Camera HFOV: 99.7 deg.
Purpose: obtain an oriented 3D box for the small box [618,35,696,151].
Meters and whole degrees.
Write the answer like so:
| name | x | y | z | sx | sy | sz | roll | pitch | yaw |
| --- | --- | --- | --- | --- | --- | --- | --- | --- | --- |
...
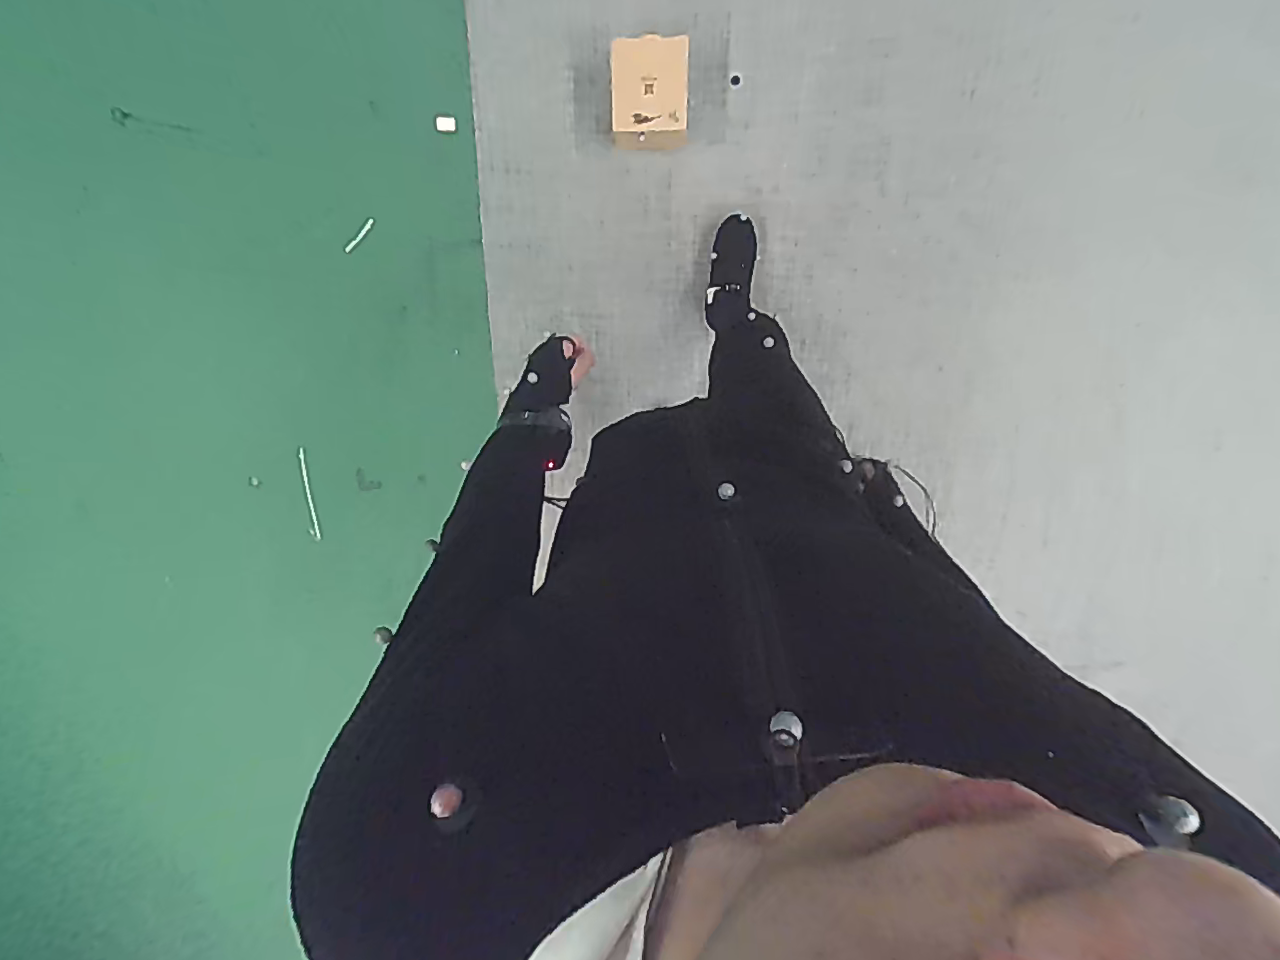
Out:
| name | x | y | z | sx | sy | sz | roll | pitch | yaw |
| --- | --- | --- | --- | --- | --- | --- | --- | --- | --- |
| small box | 0.042 | -0.879 | 1.242 | 0.168 | 0.176 | 0.179 | 2 | 108 | 5 |
